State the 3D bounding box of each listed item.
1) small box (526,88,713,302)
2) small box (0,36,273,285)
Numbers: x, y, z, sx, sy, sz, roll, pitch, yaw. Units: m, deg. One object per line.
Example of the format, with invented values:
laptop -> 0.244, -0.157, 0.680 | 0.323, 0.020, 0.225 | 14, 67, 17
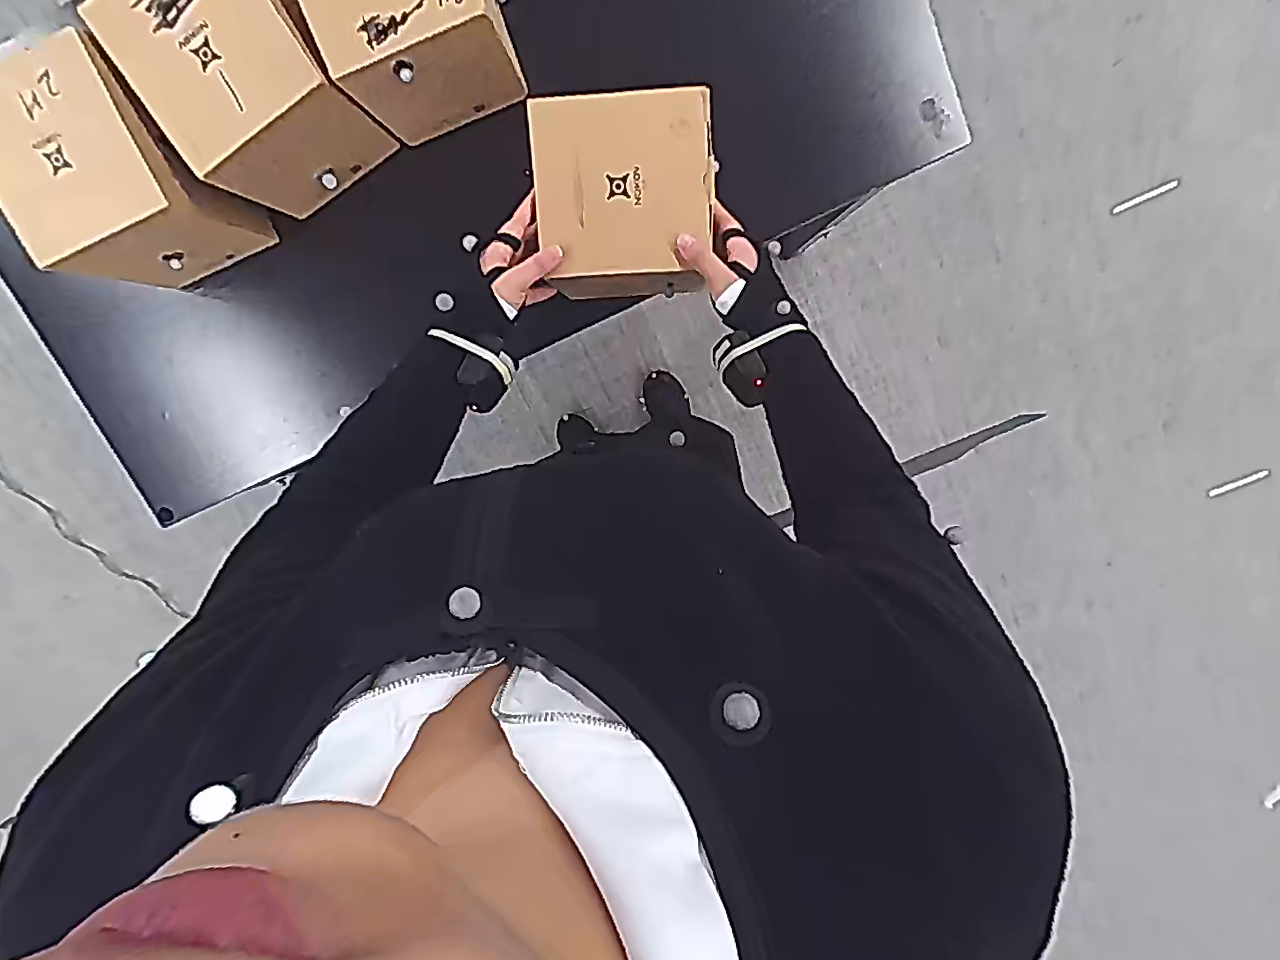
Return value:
small box -> -0.015, -0.301, 0.607 | 0.179, 0.176, 0.168 | -3, 99, 4
small box -> -0.578, -0.340, 0.623 | 0.168, 0.176, 0.179 | -21, 100, 5
